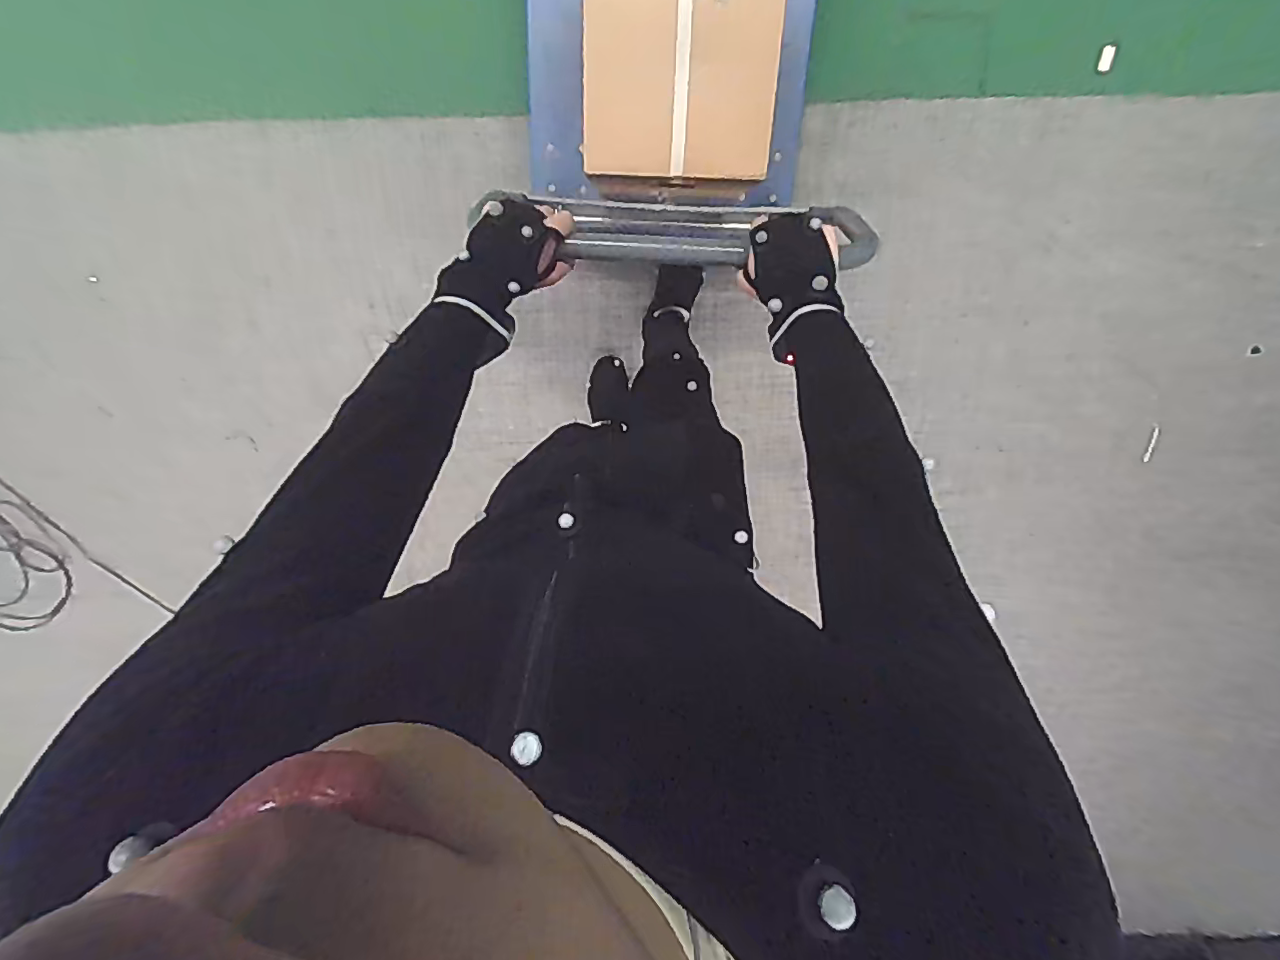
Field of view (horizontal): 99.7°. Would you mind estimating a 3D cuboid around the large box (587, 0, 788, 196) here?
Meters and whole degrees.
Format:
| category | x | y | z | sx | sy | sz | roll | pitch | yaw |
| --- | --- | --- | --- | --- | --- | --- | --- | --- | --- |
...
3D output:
| category | x | y | z | sx | sy | sz | roll | pitch | yaw |
| --- | --- | --- | --- | --- | --- | --- | --- | --- | --- |
| large box | 0.077 | -0.758 | 0.982 | 0.320 | 0.320 | 0.408 | 3 | 112 | 0 |
